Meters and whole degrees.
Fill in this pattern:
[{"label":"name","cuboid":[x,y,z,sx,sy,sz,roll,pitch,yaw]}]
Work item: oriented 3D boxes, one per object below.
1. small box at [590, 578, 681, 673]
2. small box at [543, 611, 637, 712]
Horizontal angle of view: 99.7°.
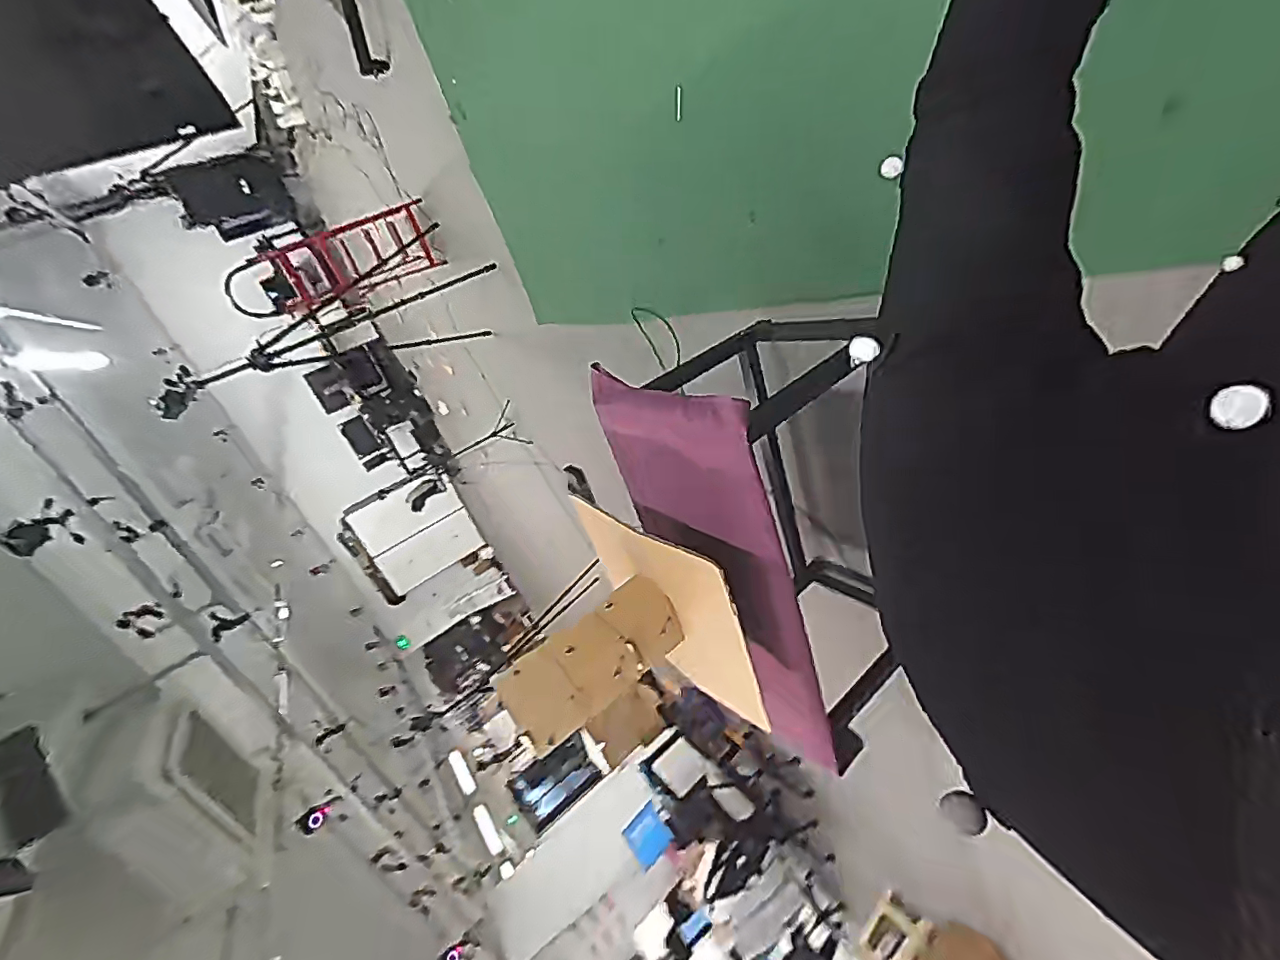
[{"label":"small box","cuboid":[-0.010,0.407,1.553,0.179,0.176,0.168,23,140,53]},{"label":"small box","cuboid":[-0.137,0.489,1.490,0.179,0.176,0.168,23,139,53]}]
